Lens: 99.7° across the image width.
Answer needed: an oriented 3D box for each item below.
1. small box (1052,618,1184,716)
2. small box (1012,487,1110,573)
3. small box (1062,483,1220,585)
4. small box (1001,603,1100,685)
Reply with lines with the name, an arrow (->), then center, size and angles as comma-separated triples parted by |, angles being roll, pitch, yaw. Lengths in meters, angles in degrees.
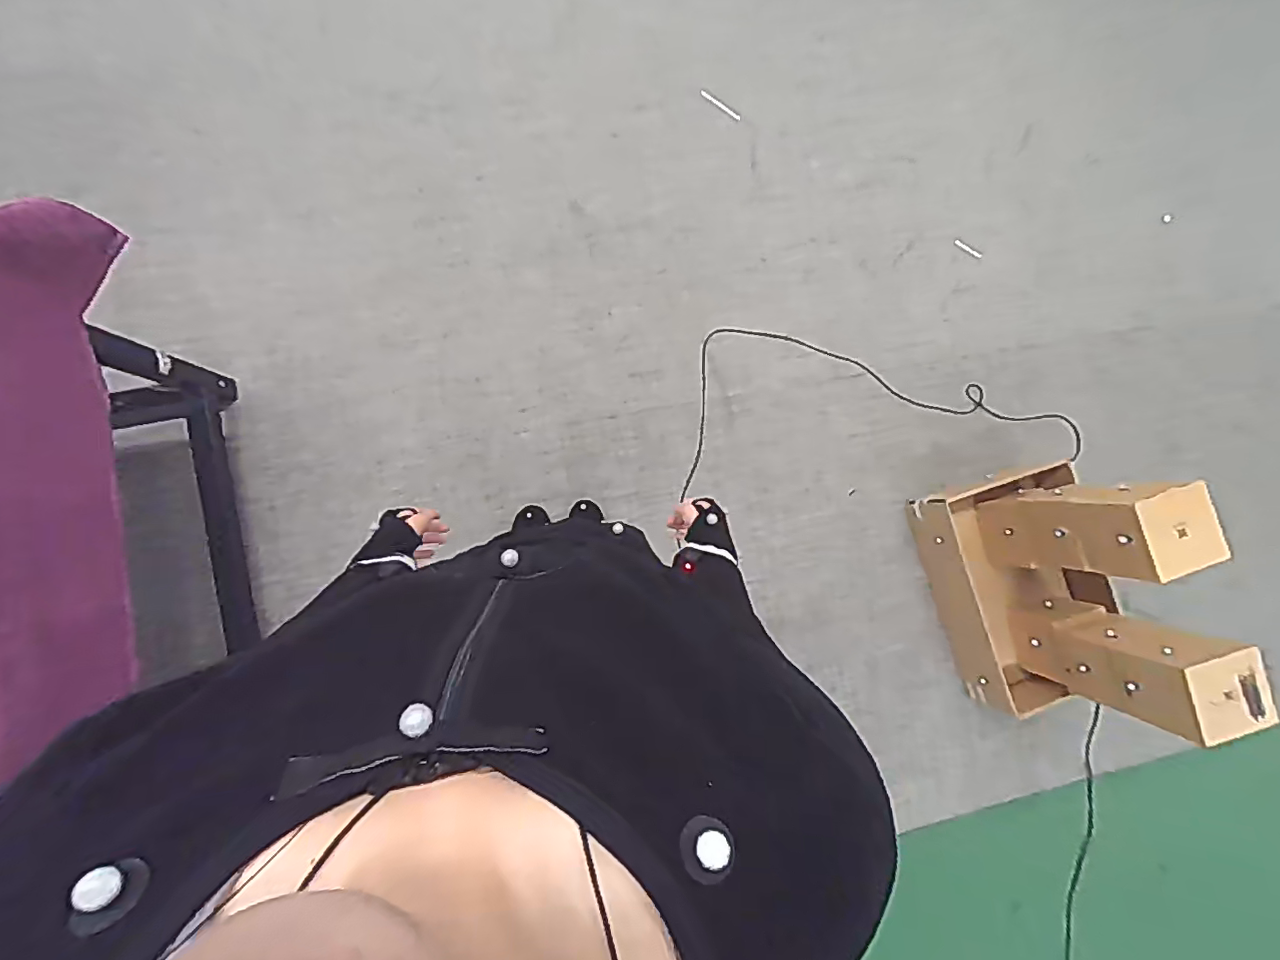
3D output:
small box -> 1.175, 0.457, 1.348 | 0.179, 0.176, 0.168 | -14, 89, -7
small box -> 1.080, 0.121, 1.357 | 0.168, 0.176, 0.179 | -13, 90, -5
small box -> 1.094, 0.114, 1.196 | 0.168, 0.176, 0.179 | -18, 88, -5
small box -> 1.156, 0.451, 1.512 | 0.168, 0.176, 0.179 | -14, 88, -6
